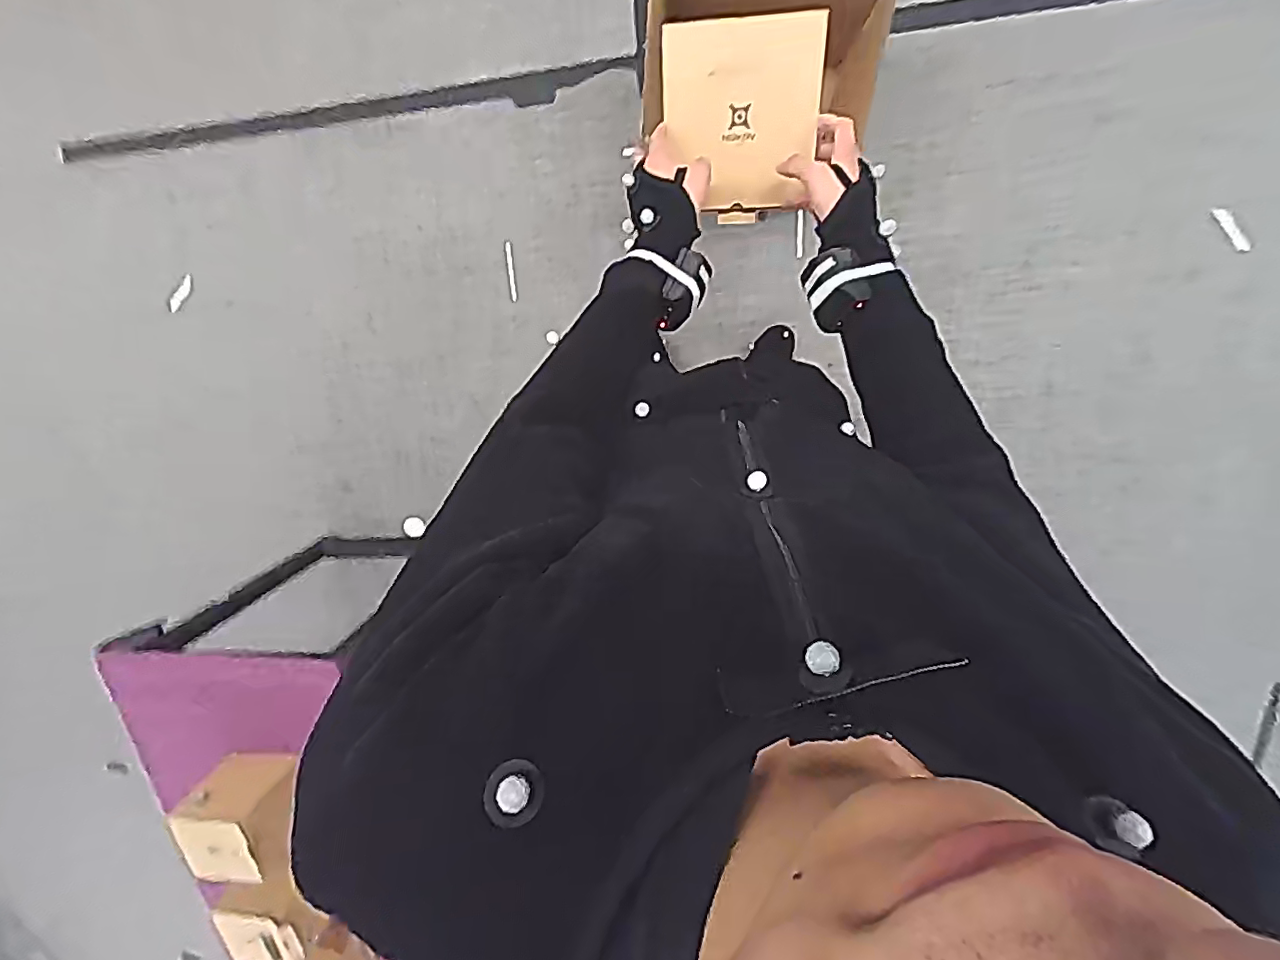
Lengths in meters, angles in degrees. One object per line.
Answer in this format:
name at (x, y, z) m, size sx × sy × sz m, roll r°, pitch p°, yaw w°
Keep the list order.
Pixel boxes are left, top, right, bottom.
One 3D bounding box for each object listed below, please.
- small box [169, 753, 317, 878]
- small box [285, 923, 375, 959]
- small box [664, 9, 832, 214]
small box at (-0.857, 0.726, 1.184) m, size 0.179 × 0.176 × 0.168 m, roll -3°, pitch 108°, yaw 9°
small box at (-0.794, 1.254, 1.354) m, size 0.179 × 0.176 × 0.168 m, roll -11°, pitch 106°, yaw 12°
small box at (0.117, -0.421, 0.640) m, size 0.168 × 0.176 × 0.179 m, roll 1°, pitch 119°, yaw 6°
